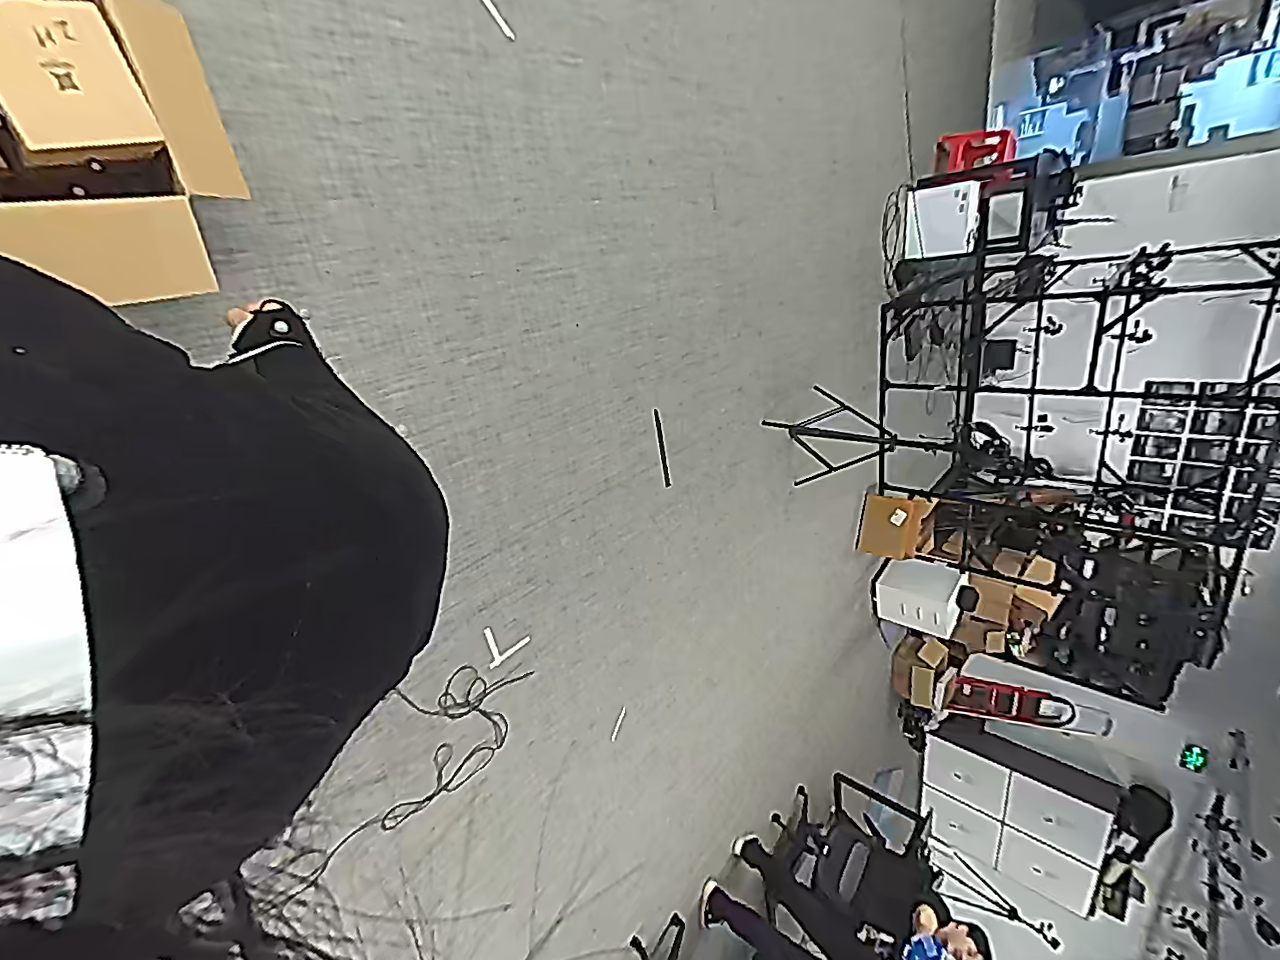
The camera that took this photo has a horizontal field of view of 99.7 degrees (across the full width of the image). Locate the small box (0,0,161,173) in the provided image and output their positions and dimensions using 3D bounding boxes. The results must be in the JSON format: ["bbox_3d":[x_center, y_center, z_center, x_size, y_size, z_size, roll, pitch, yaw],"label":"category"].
[{"bbox_3d":[-0.875,-0.574,0.808,0.168,0.176,0.179,-39,126,-40],"label":"small box"}]
